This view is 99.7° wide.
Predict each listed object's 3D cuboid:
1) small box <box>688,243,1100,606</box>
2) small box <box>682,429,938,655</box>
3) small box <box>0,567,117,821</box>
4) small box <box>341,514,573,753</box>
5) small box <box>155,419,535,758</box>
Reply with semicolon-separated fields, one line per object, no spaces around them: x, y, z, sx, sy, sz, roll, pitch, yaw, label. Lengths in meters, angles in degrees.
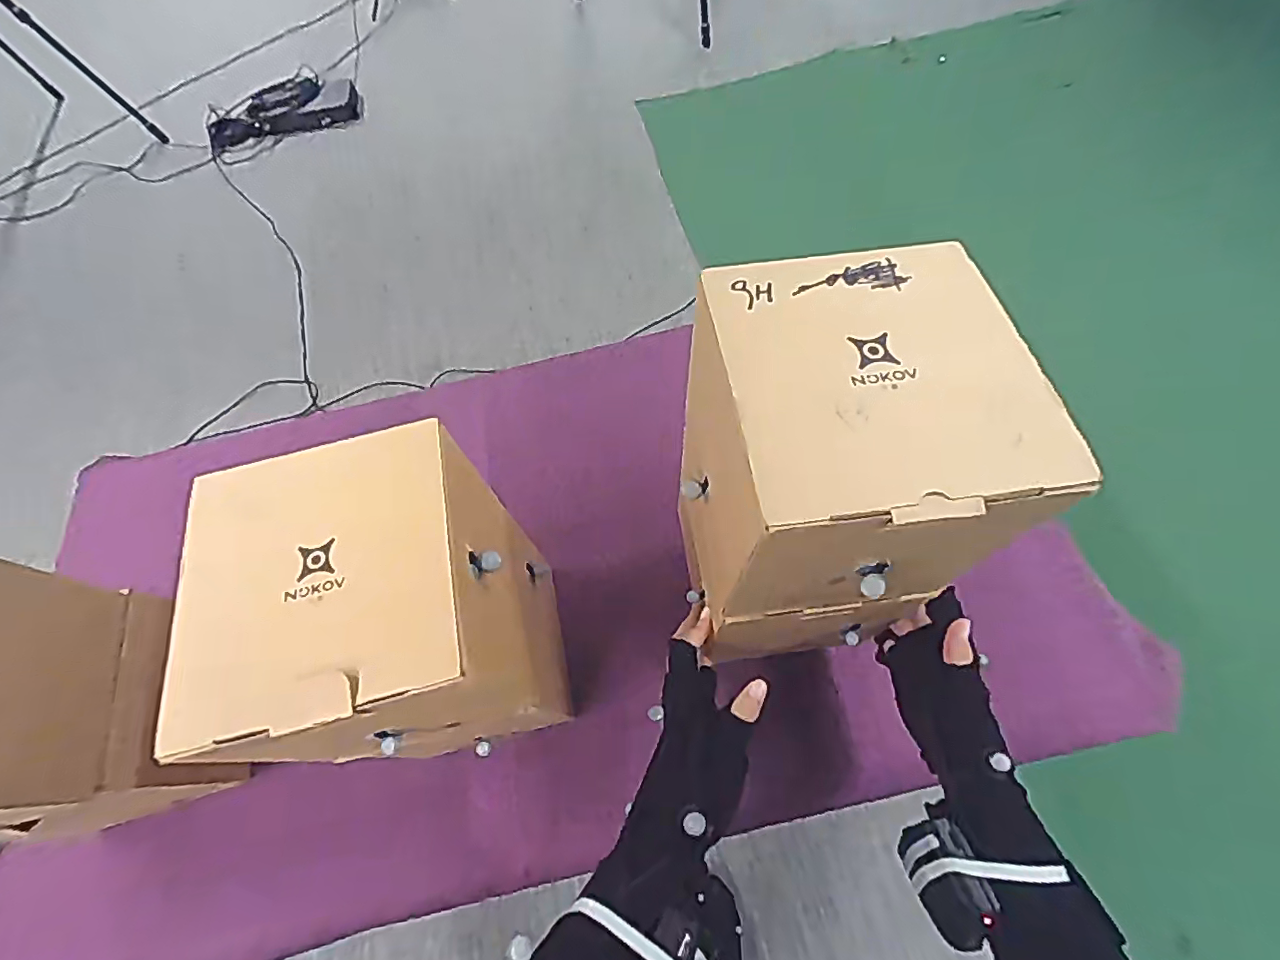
0.128;-0.022;0.358;0.168;0.176;0.179;-6;63;-3;small box
0.133;0.058;0.502;0.168;0.176;0.179;-7;62;-2;small box
-0.532;0.159;0.379;0.168;0.176;0.179;-13;64;-4;small box
-0.171;0.158;0.536;0.168;0.176;0.179;-14;64;-1;small box
-0.184;0.086;0.390;0.168;0.176;0.179;-14;64;-2;small box
